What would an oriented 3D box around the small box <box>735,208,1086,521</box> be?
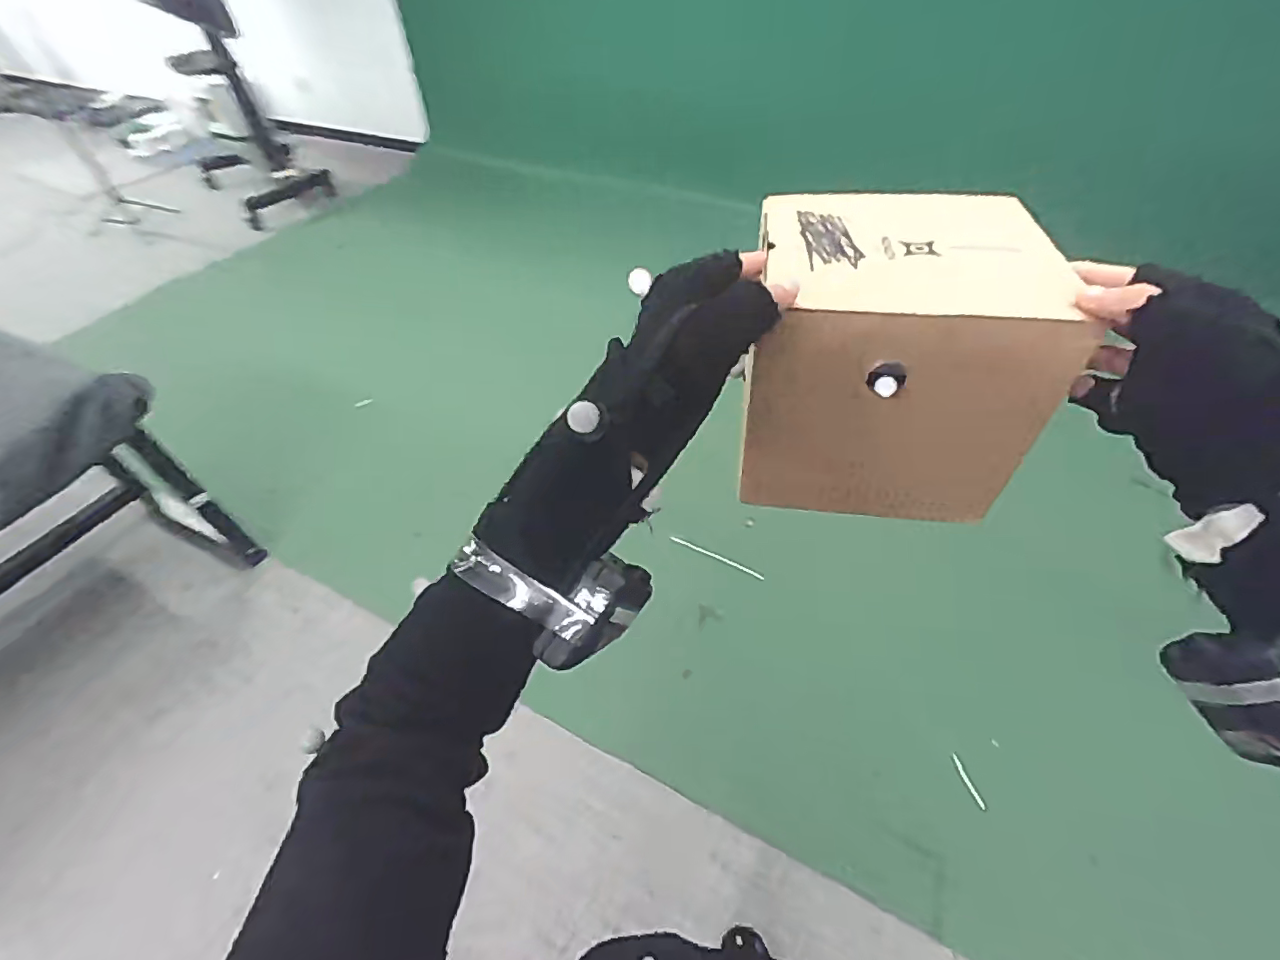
[{"bbox_3d":[0.166,-0.085,0.406,0.179,0.176,0.168,5,47,7],"label":"small box"}]
